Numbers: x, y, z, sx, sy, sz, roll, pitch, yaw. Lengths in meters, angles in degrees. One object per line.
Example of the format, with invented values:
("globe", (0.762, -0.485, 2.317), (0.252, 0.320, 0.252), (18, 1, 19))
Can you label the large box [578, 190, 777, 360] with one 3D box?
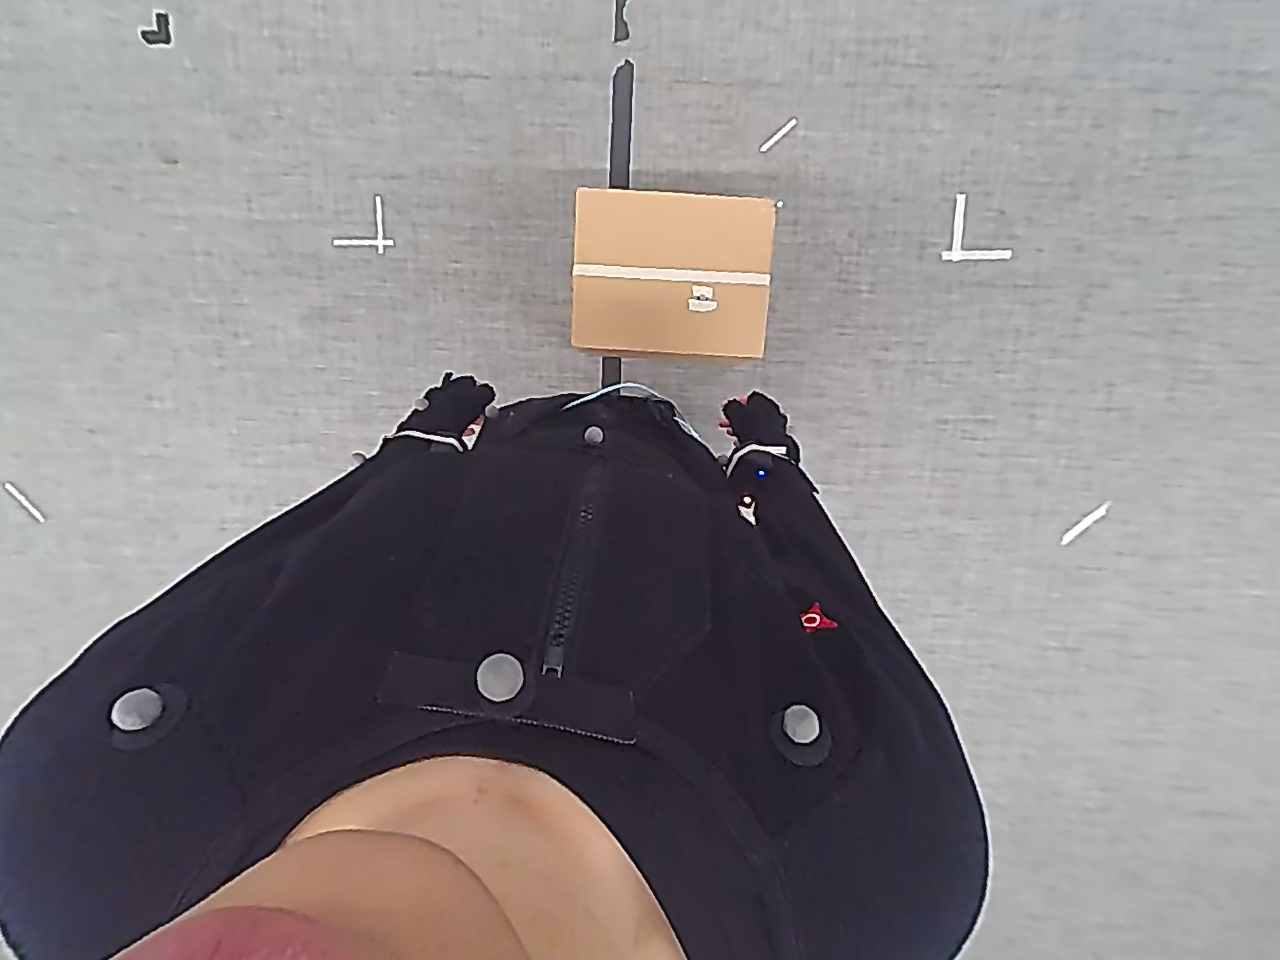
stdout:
("large box", (0.071, -0.453, 1.267), (0.408, 0.320, 0.320), (4, 101, -1))
